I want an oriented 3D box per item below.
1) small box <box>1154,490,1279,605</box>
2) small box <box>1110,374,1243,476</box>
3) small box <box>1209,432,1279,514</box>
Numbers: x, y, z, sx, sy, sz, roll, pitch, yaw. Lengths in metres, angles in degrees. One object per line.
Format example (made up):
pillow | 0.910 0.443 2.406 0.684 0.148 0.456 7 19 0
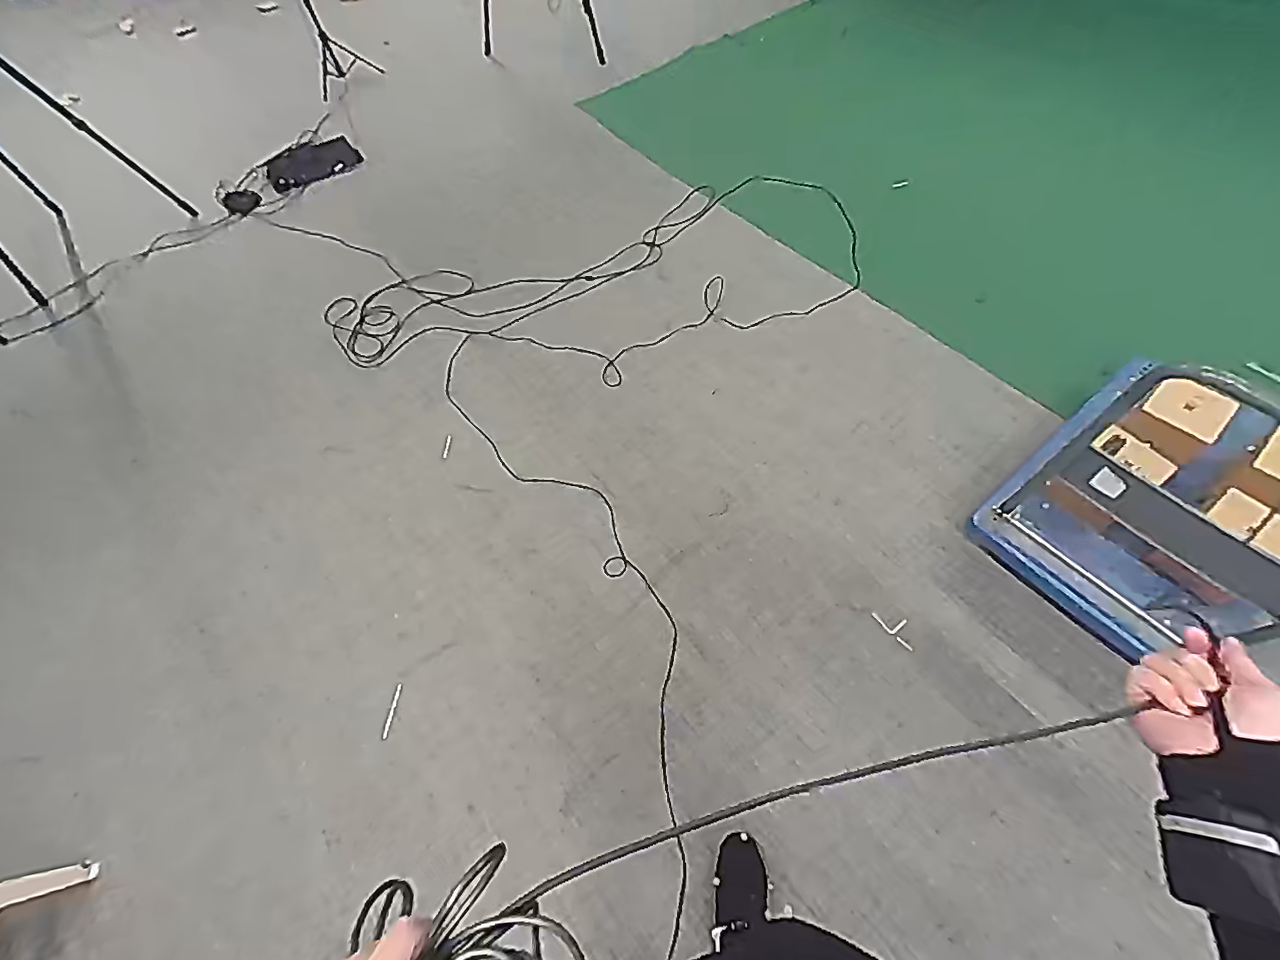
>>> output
small box | 1.389 0.163 1.276 0.179 0.176 0.168 -36 62 -14
small box | 1.428 -0.142 1.455 0.179 0.176 0.168 -40 64 -17
small box | 1.599 0.007 1.346 0.179 0.176 0.168 -41 63 -16
